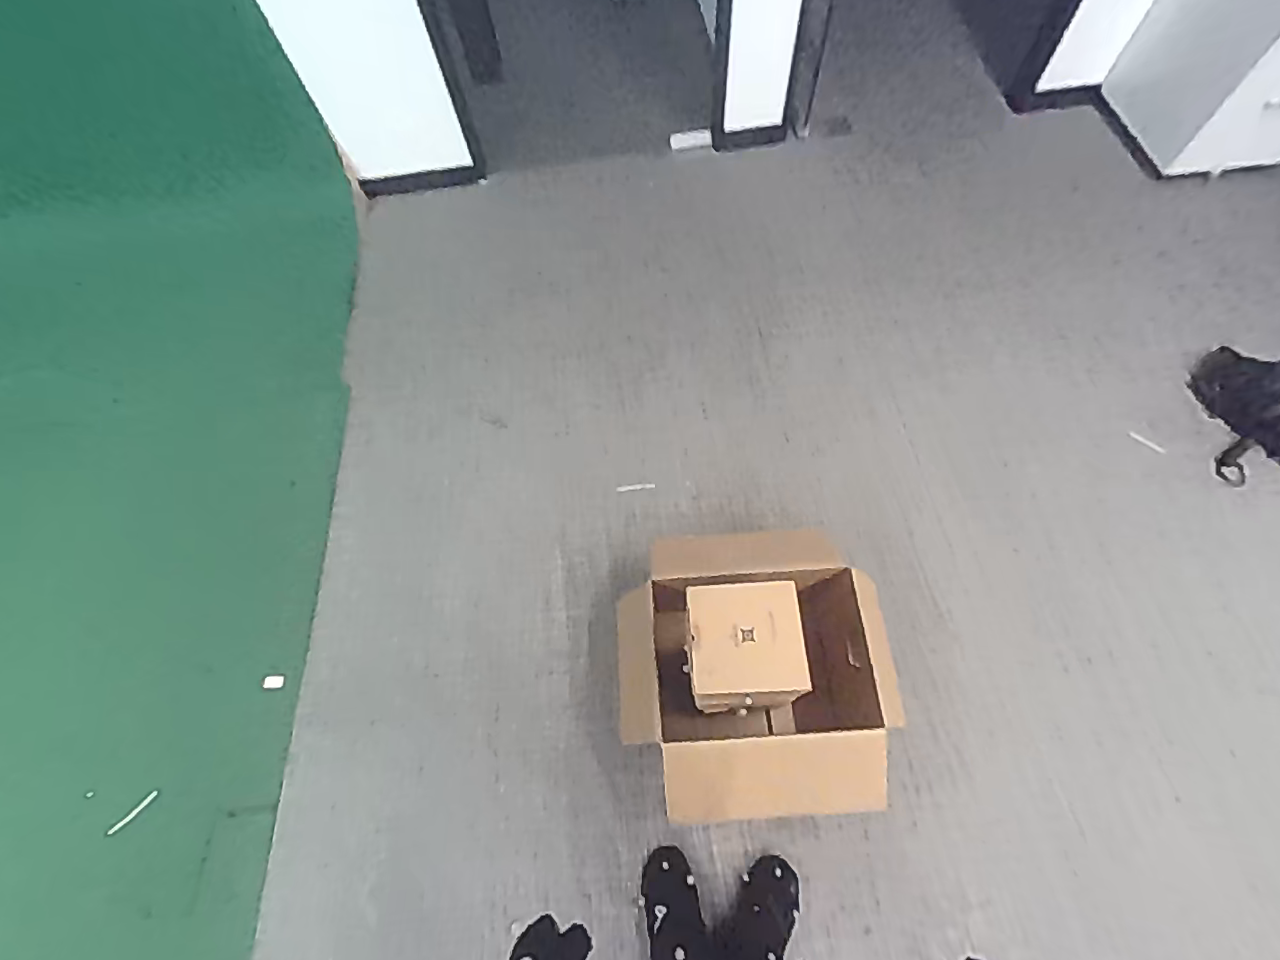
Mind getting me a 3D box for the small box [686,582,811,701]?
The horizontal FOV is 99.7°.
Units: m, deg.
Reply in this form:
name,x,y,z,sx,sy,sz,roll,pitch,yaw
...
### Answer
name,x,y,z,sx,sy,sz,roll,pitch,yaw
small box,0.175,0.278,0.915,0.179,0.176,0.168,-5,65,4
